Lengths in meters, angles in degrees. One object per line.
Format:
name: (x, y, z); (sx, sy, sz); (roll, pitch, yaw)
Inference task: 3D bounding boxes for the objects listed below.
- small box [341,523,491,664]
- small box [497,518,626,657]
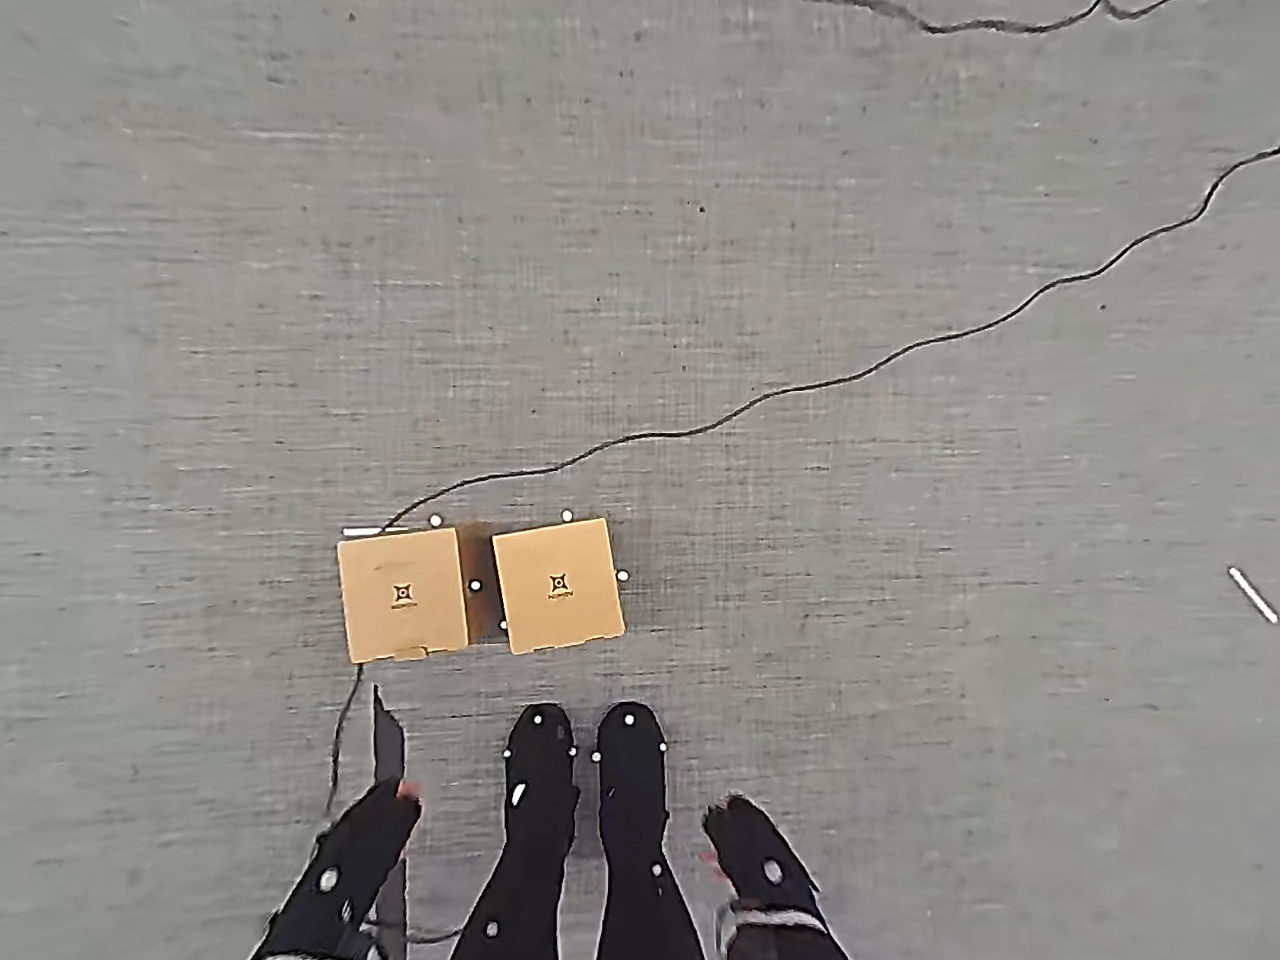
small box: (-0.335, 0.167, 0.841); (0.168, 0.176, 0.179); (-6, 89, -4)
small box: (-0.119, 0.157, 0.856); (0.168, 0.176, 0.179); (-9, 91, -4)
